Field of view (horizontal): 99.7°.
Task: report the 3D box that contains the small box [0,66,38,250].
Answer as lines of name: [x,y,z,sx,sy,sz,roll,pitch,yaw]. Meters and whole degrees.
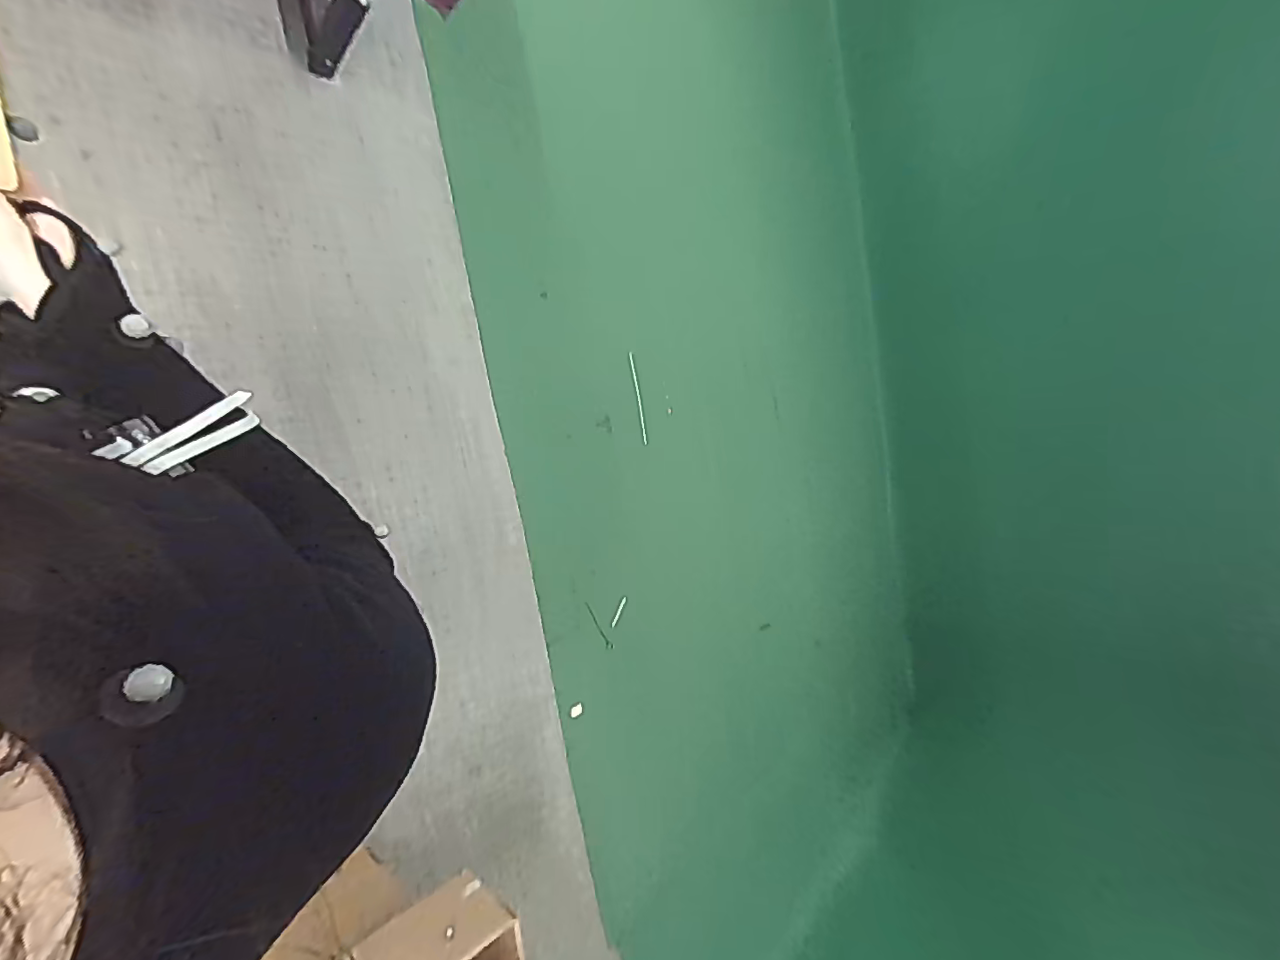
small box: [-0.521,-0.259,0.337,0.168,0.176,0.179,-13,101,-43]
